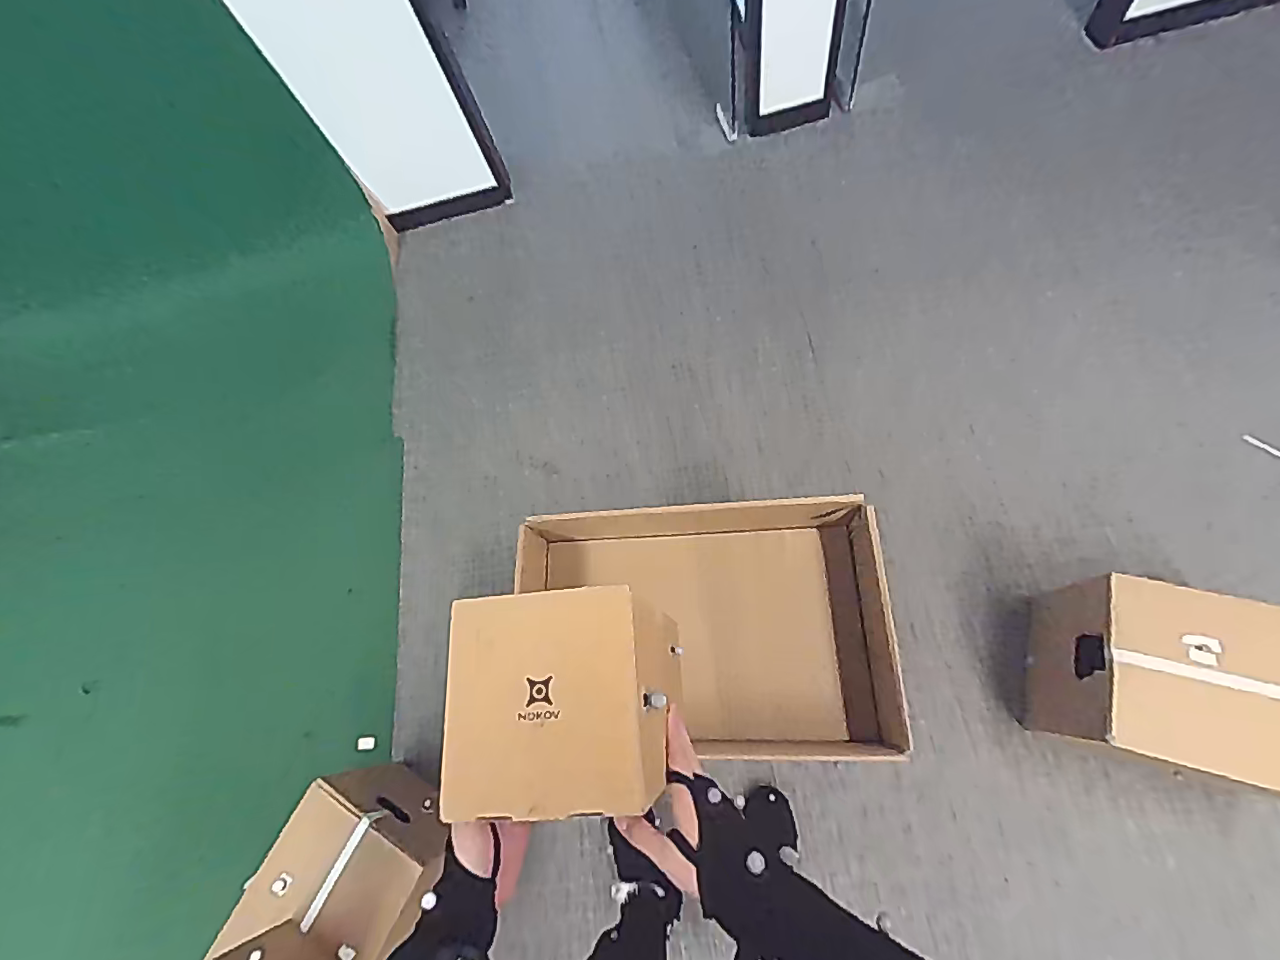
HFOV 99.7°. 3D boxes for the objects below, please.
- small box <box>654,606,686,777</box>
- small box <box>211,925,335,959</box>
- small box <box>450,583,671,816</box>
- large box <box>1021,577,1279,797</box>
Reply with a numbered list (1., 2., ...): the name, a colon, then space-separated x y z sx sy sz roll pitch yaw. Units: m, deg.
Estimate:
1. small box: -0.035 0.258 0.674 0.168 0.176 0.179 -5 71 9
2. small box: -0.646 0.905 0.912 0.179 0.176 0.168 24 75 16
3. small box: -0.063 0.205 0.523 0.168 0.176 0.179 -7 70 8
4. large box: 1.053 0.407 1.066 0.408 0.320 0.320 12 72 15
